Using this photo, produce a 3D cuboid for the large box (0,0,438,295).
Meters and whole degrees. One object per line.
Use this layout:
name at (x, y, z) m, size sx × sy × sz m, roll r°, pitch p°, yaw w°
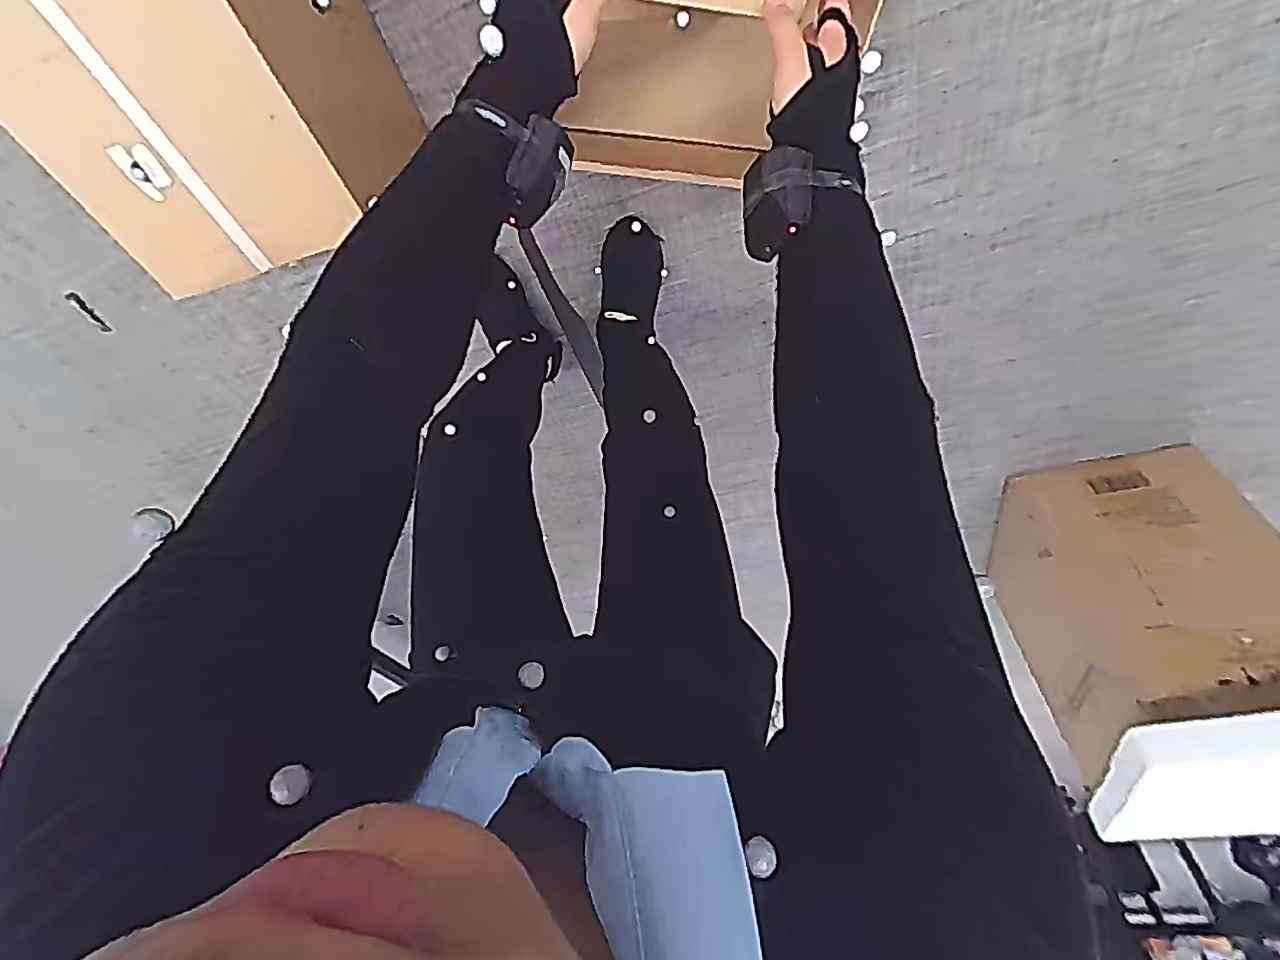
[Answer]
large box at (-0.512, -0.510, 0.642) m, size 0.320 × 0.320 × 0.408 m, roll -11°, pitch 137°, yaw 13°
